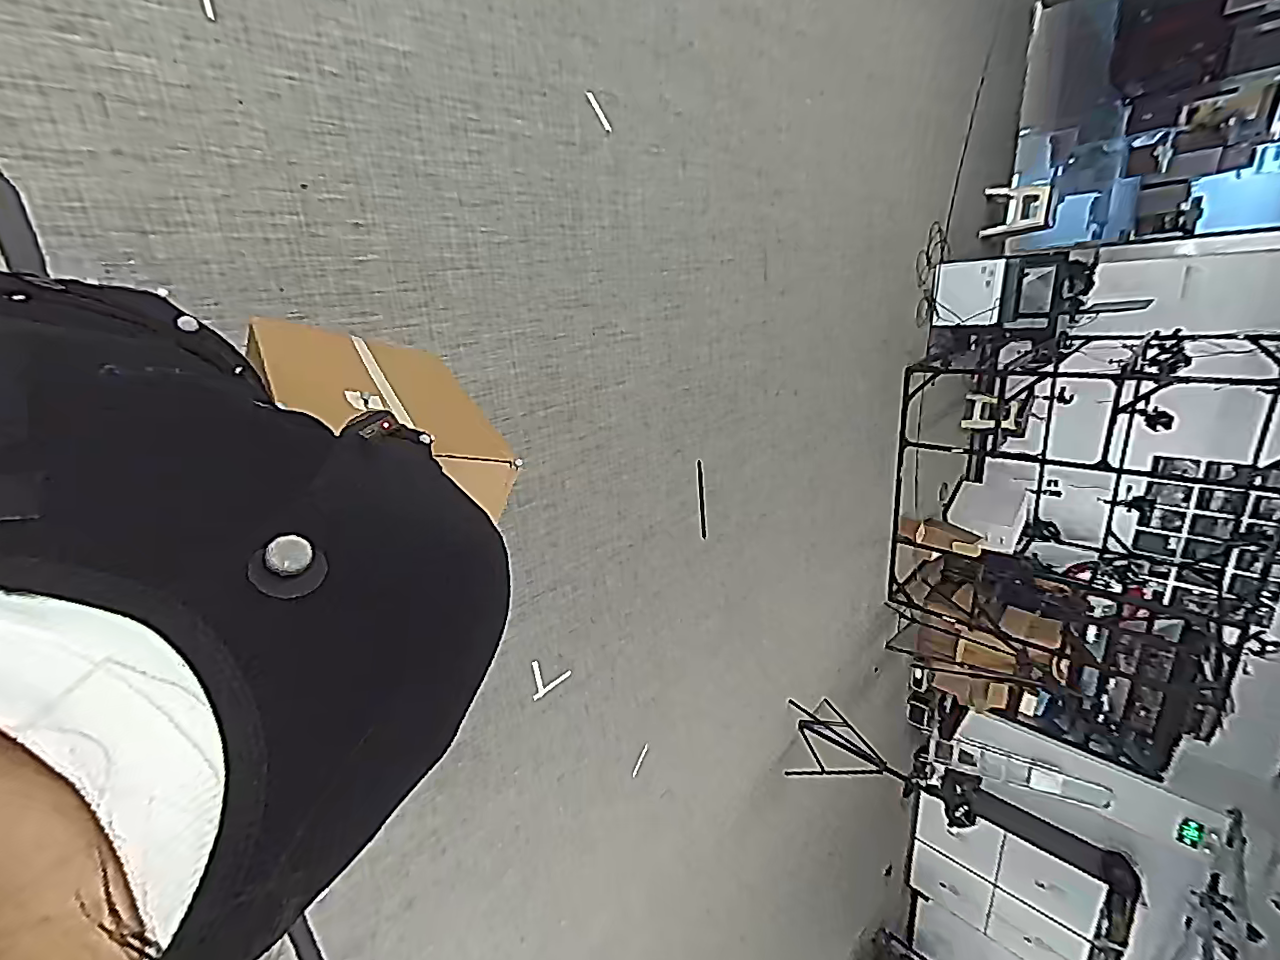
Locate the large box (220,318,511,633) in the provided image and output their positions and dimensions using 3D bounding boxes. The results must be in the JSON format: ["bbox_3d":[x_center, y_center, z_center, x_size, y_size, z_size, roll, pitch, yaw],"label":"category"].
[{"bbox_3d":[-0.479,-0.015,0.905,0.320,0.408,0.320,3,124,-43],"label":"large box"}]
